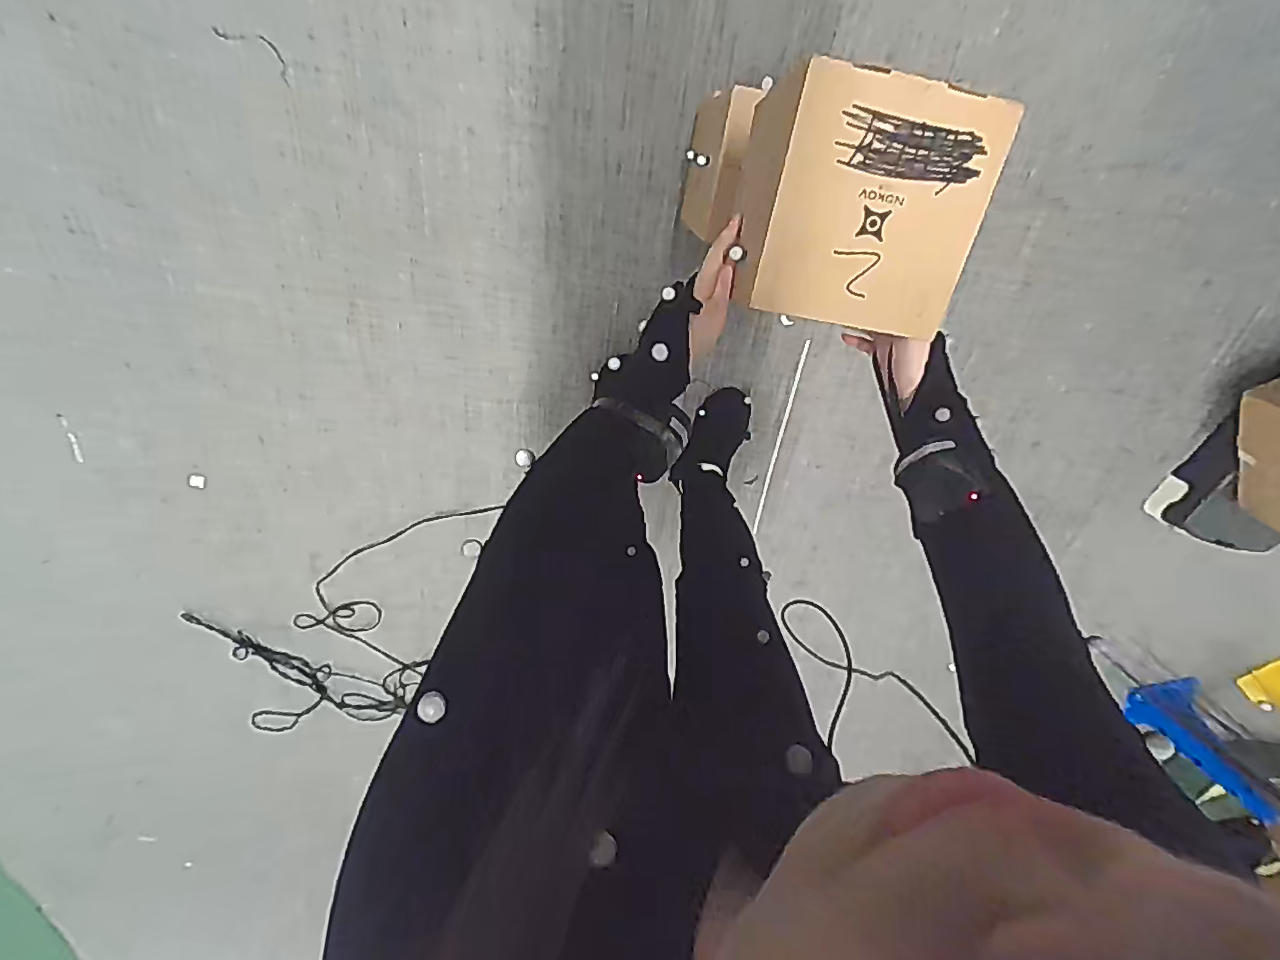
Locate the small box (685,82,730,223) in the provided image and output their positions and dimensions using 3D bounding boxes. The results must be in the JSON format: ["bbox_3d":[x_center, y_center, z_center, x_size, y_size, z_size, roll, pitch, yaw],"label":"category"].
[{"bbox_3d":[0.169,-0.498,0.850,0.168,0.176,0.179,6,120,-6],"label":"small box"}]

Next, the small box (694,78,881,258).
[{"bbox_3d":[0.175,-0.406,0.713,0.179,0.176,0.168,7,122,-6],"label":"small box"}]
